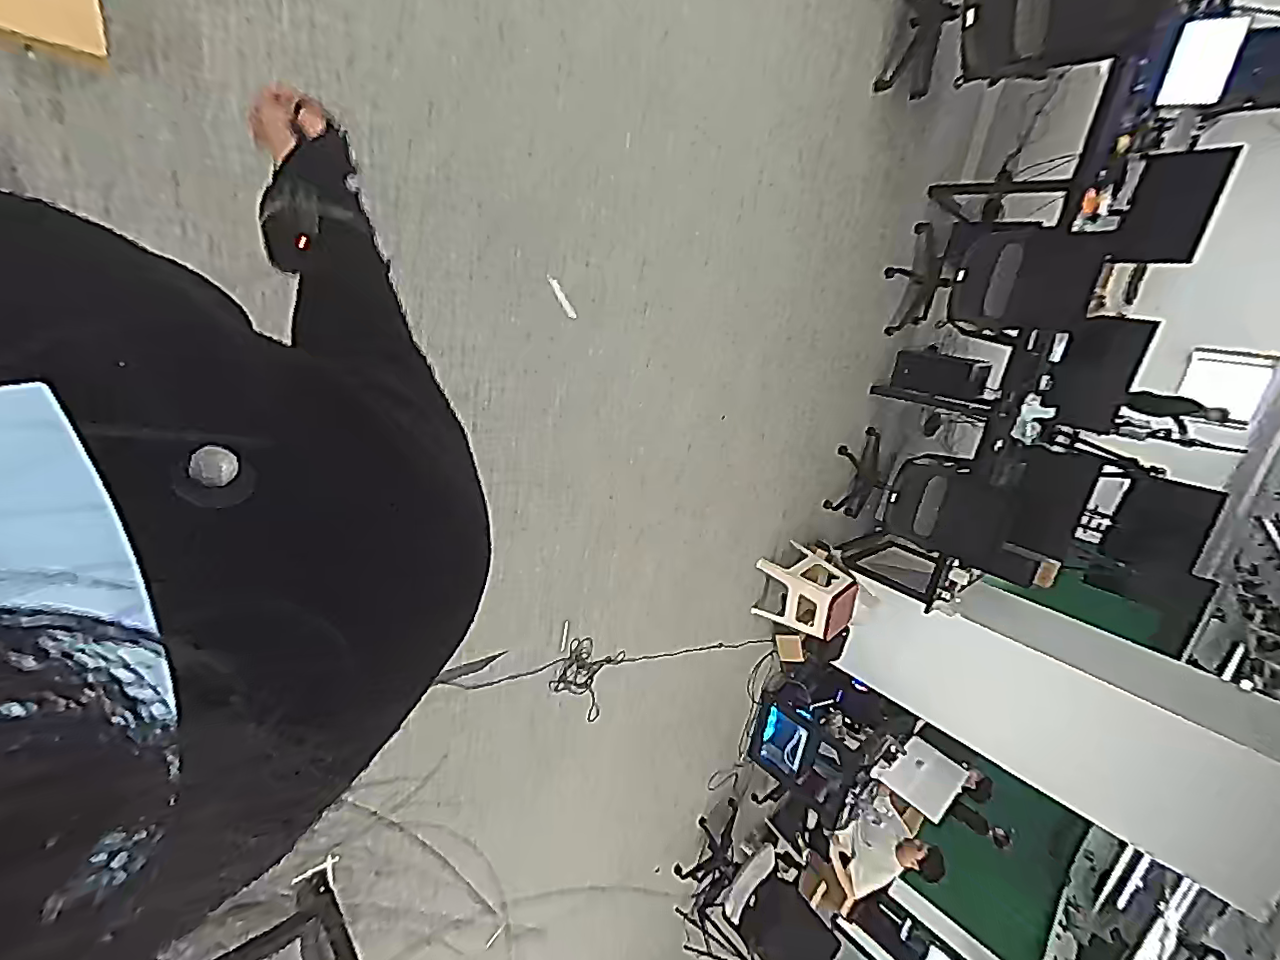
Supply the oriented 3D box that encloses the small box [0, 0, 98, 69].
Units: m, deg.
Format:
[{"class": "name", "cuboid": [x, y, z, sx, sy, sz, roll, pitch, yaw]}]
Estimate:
[{"class": "small box", "cuboid": [-0.937, -0.756, 0.809, 0.168, 0.176, 0.179, -9, 114, -44]}]
